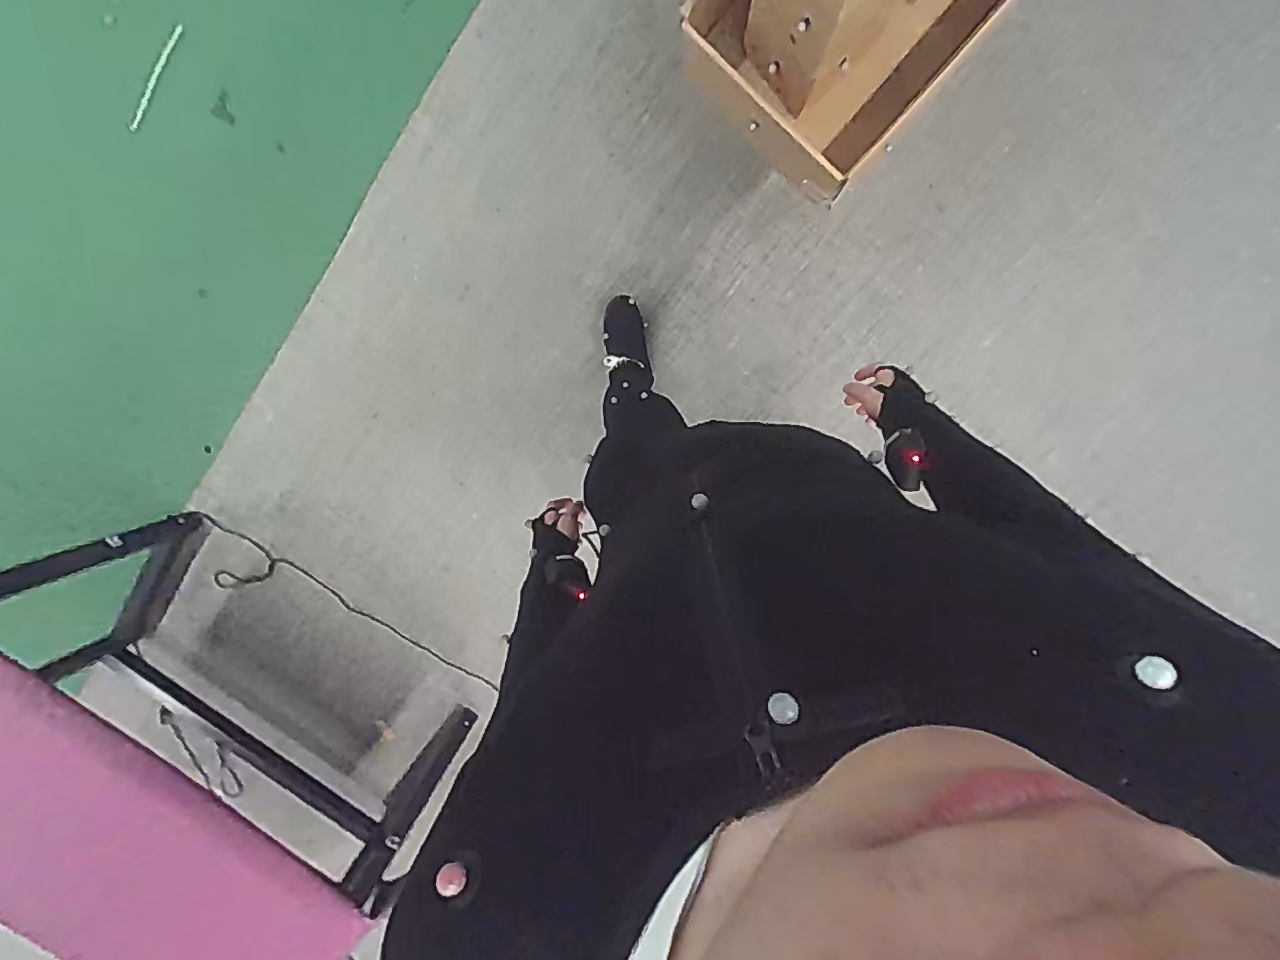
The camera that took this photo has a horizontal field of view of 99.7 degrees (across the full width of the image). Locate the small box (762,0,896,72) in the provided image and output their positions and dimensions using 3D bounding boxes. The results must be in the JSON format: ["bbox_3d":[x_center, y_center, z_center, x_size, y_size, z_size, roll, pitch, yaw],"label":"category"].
[{"bbox_3d":[0.280,-0.735,0.758,0.179,0.176,0.168,-37,97,10],"label":"small box"}]
